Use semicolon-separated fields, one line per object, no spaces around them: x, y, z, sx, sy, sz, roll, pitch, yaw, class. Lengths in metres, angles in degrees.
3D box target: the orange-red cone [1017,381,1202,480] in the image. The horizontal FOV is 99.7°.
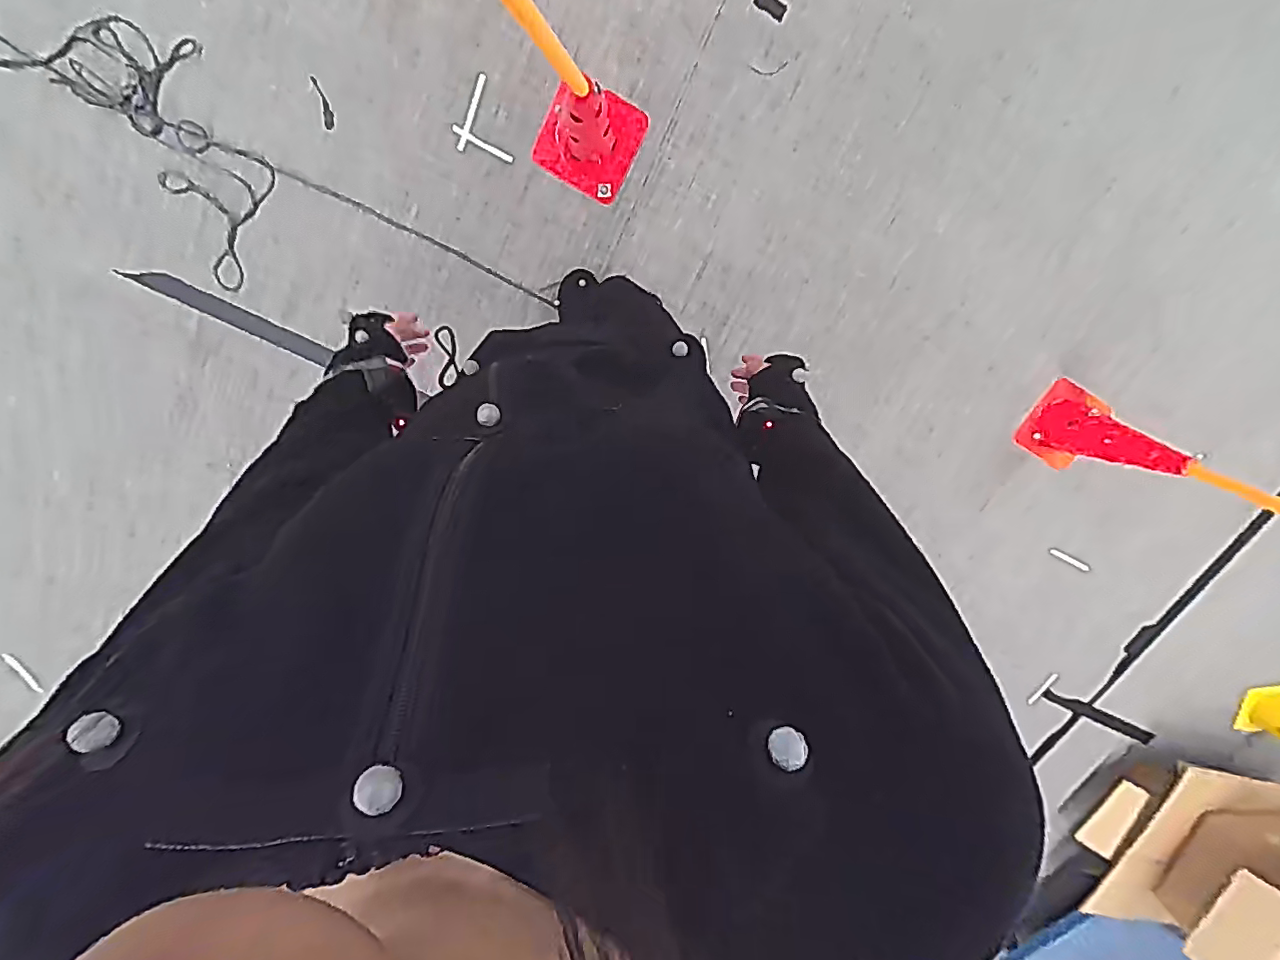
1.146;-0.082;1.290;0.199;0.360;0.198;28;108;-14;orange-red cone
